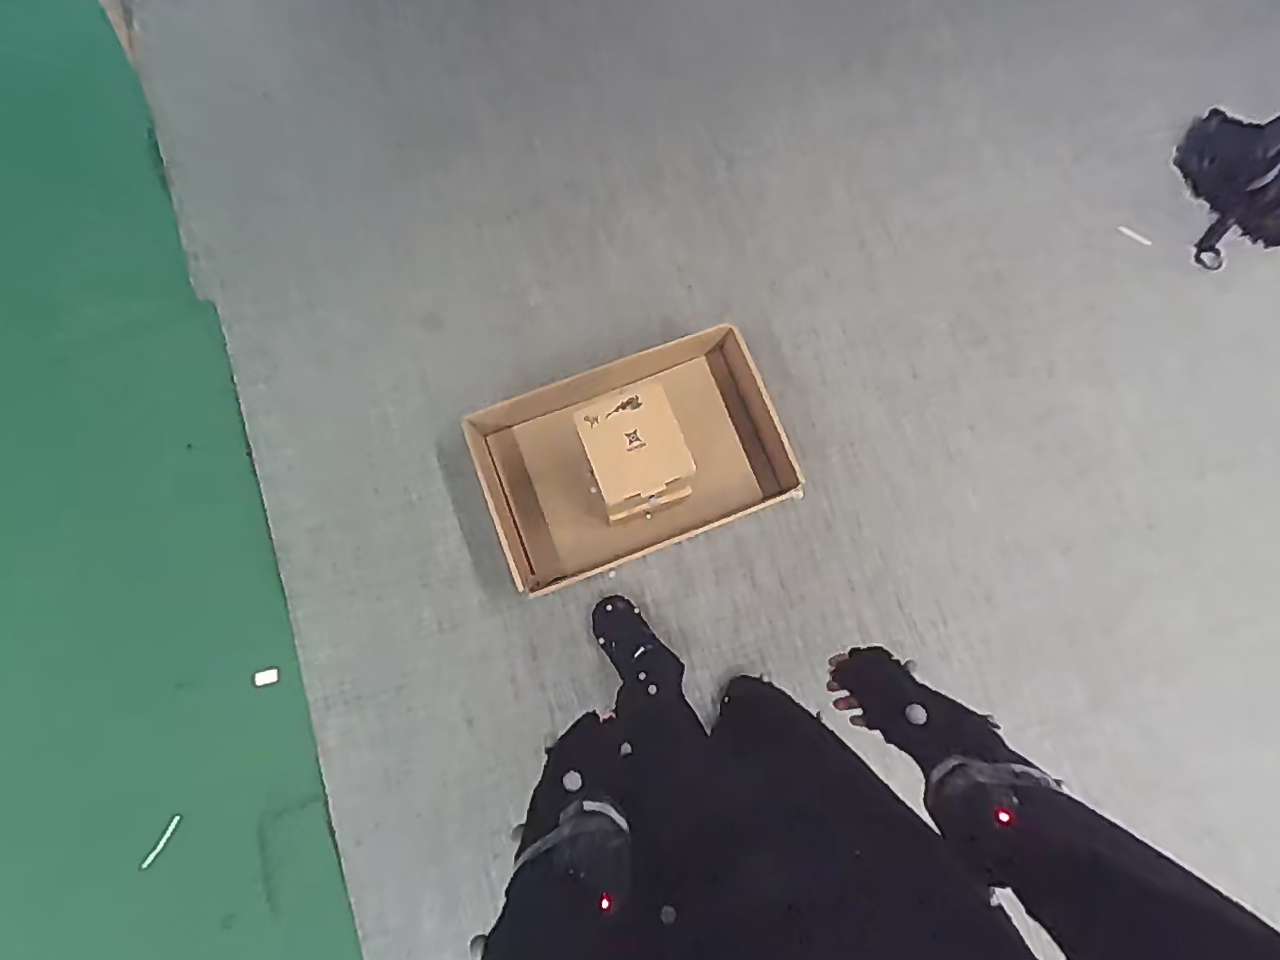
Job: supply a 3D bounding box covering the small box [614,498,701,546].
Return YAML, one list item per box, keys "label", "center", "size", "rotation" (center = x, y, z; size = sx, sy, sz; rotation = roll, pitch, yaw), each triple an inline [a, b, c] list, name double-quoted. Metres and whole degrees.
- label: "small box"
  center: [0.010, 0.032, 1.159]
  size: [0.179, 0.176, 0.168]
  rotation: [-22, 80, -6]

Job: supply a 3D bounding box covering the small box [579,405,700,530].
- label: "small box"
  center: [-0.002, -0.012, 1.002]
  size: [0.168, 0.176, 0.179]
  rotation: [-21, 81, -4]
